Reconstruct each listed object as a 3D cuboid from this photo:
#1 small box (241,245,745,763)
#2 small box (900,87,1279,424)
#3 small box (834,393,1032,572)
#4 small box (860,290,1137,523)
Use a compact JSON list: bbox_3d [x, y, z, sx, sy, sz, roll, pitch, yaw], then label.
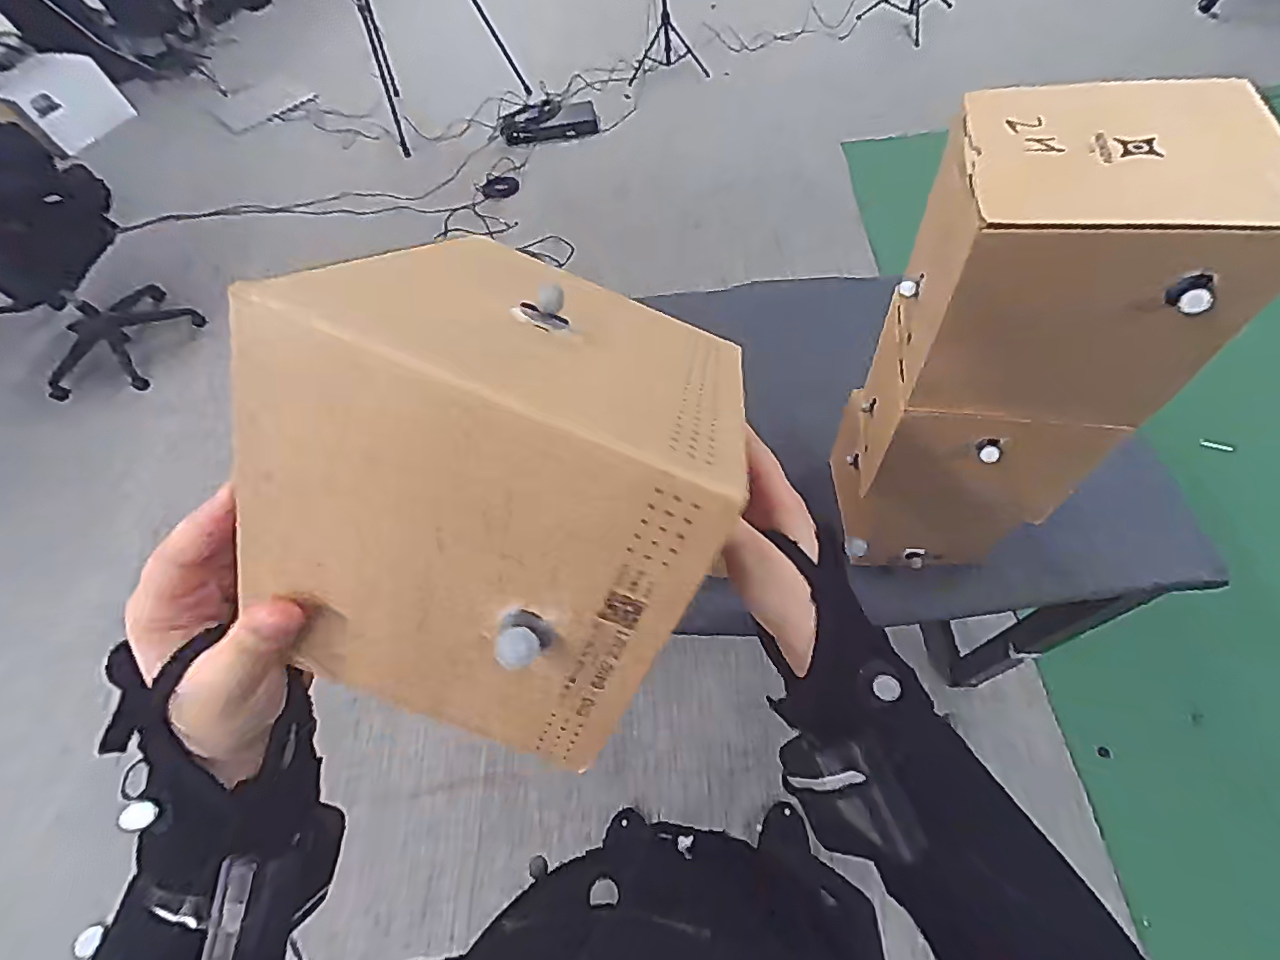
[{"bbox_3d":[-0.057,0.003,0.276,0.176,0.168,0.179,21,31,-4],"label":"small box"},{"bbox_3d":[0.312,-0.159,0.409,0.179,0.176,0.168,7,59,15],"label":"small box"},{"bbox_3d":[0.355,0.004,0.689,0.168,0.176,0.179,-4,58,8],"label":"small box"},{"bbox_3d":[0.332,-0.069,0.546,0.179,0.176,0.168,5,59,14],"label":"small box"}]
